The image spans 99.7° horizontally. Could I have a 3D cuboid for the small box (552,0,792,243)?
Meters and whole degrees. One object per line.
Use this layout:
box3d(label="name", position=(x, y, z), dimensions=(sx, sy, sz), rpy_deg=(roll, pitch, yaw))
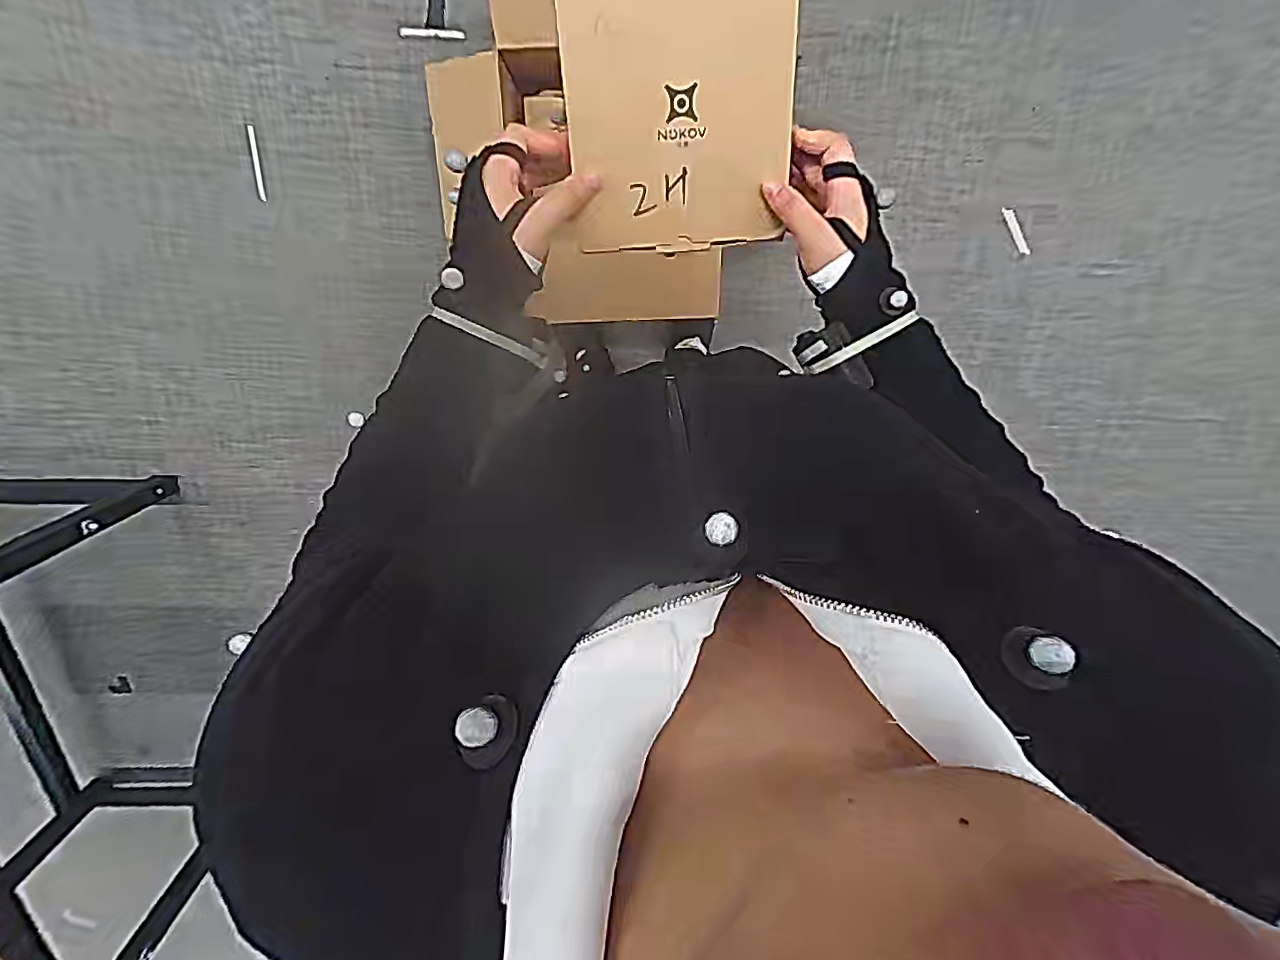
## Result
box3d(label="small box", position=(0.021, -0.304, 0.458), dimensions=(0.168, 0.176, 0.179), rpy_deg=(-4, 118, 0))
